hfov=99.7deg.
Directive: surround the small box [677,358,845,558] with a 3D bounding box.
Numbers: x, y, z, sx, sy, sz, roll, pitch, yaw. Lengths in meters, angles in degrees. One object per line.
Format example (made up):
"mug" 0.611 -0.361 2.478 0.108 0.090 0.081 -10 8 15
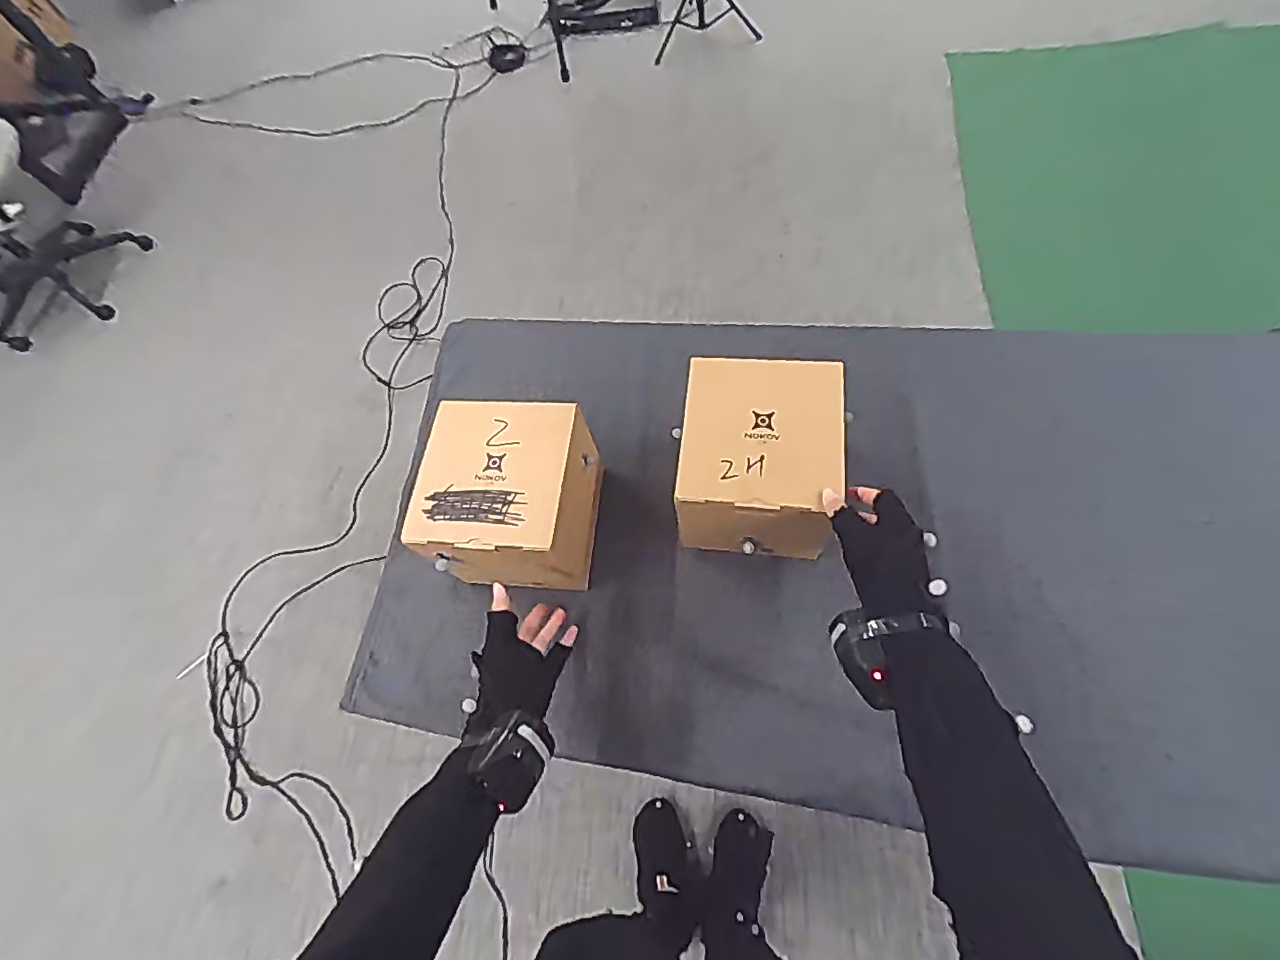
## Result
"small box" 0.138 -0.021 0.637 0.168 0.176 0.179 4 68 10
